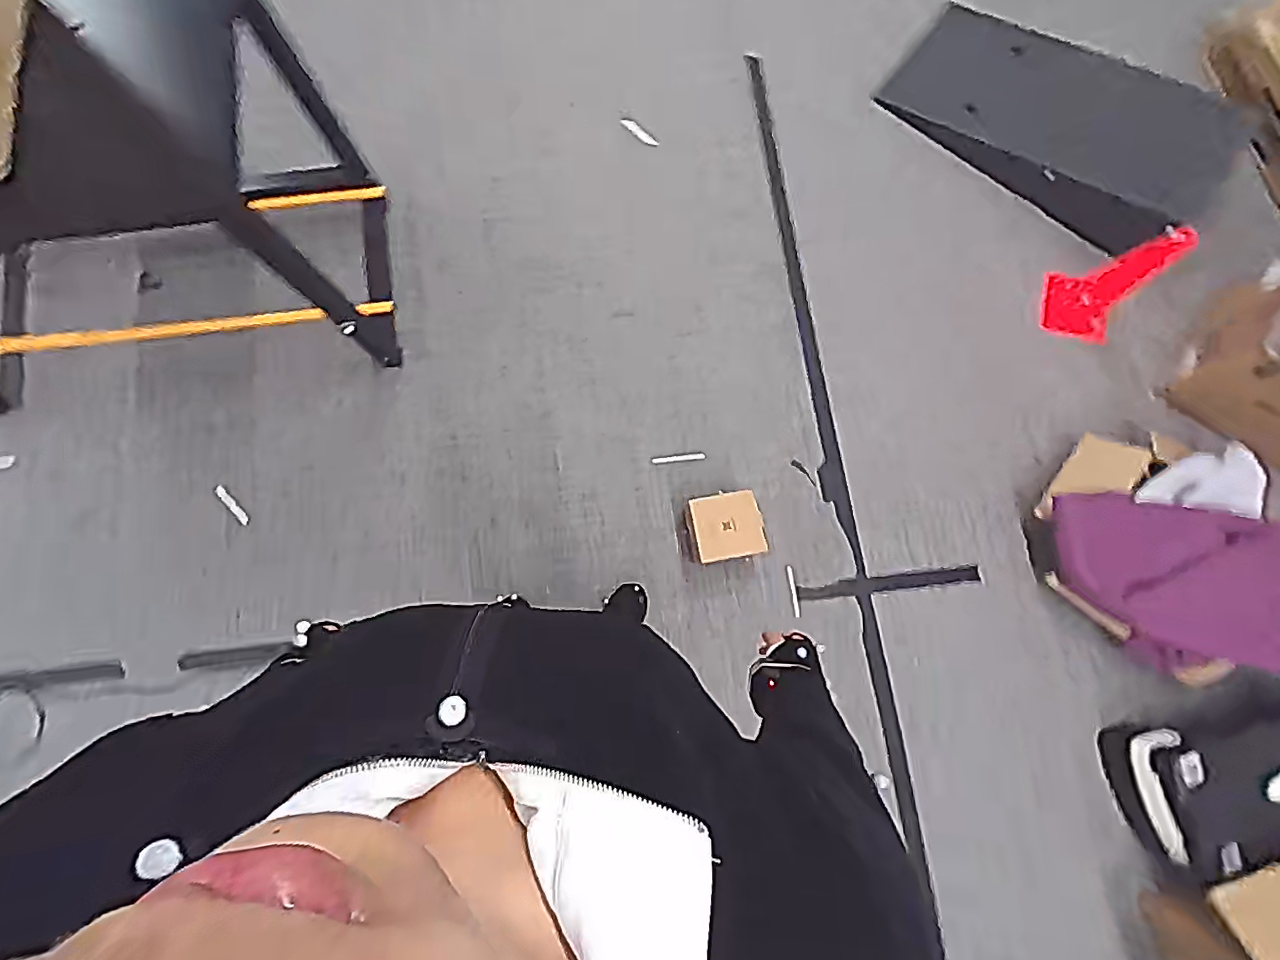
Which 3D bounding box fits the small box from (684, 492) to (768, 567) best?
[{"bbox_3d":[0.224,0.137,1.450,0.179,0.176,0.168,-10,79,-2],"label":"small box"}]
